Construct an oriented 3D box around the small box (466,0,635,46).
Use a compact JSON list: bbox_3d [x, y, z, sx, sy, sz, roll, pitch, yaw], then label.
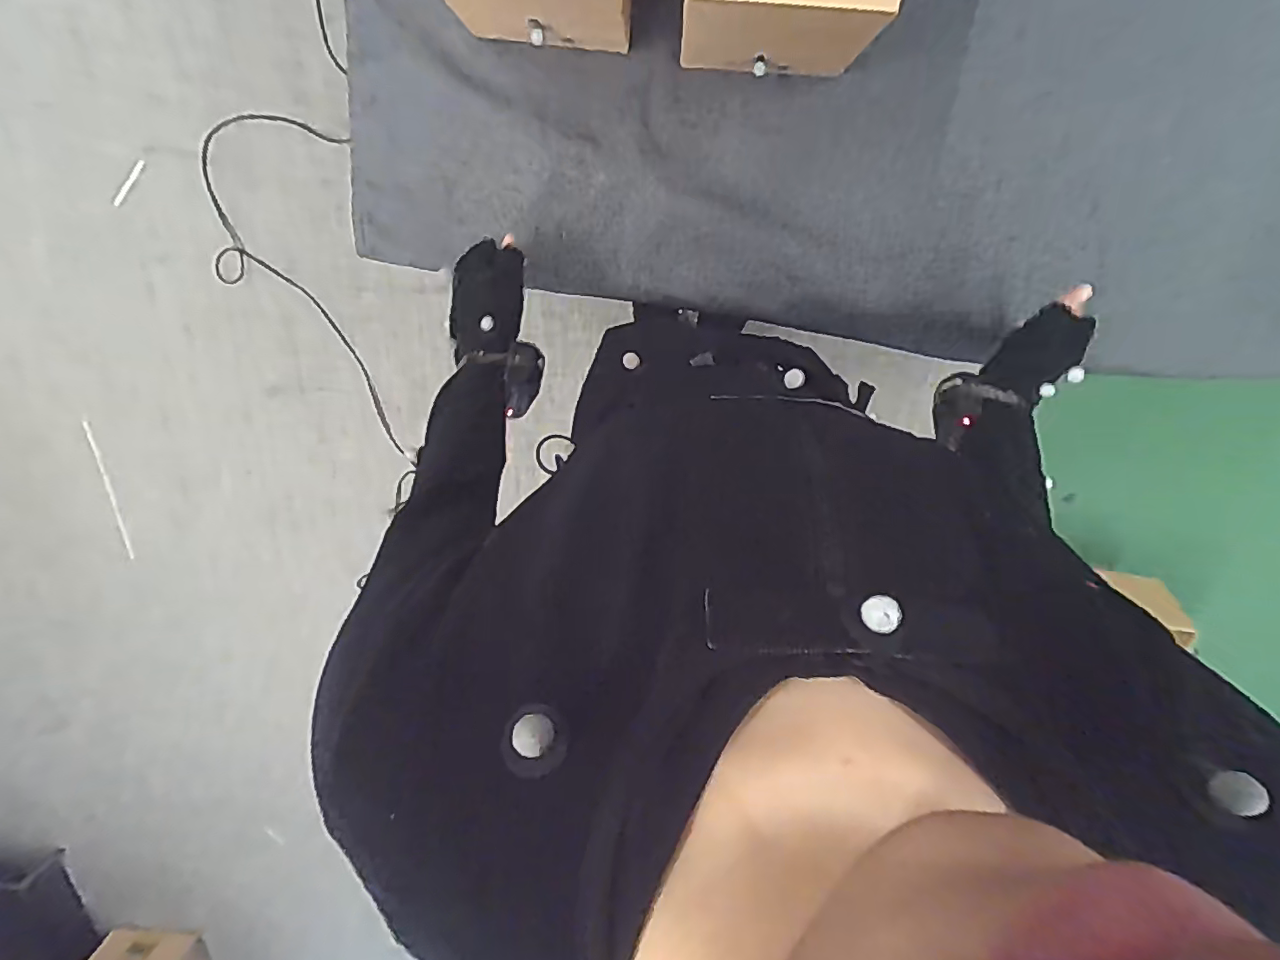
[{"bbox_3d":[-0.084,-0.510,0.455,0.168,0.176,0.179,7,113,1],"label":"small box"}]
